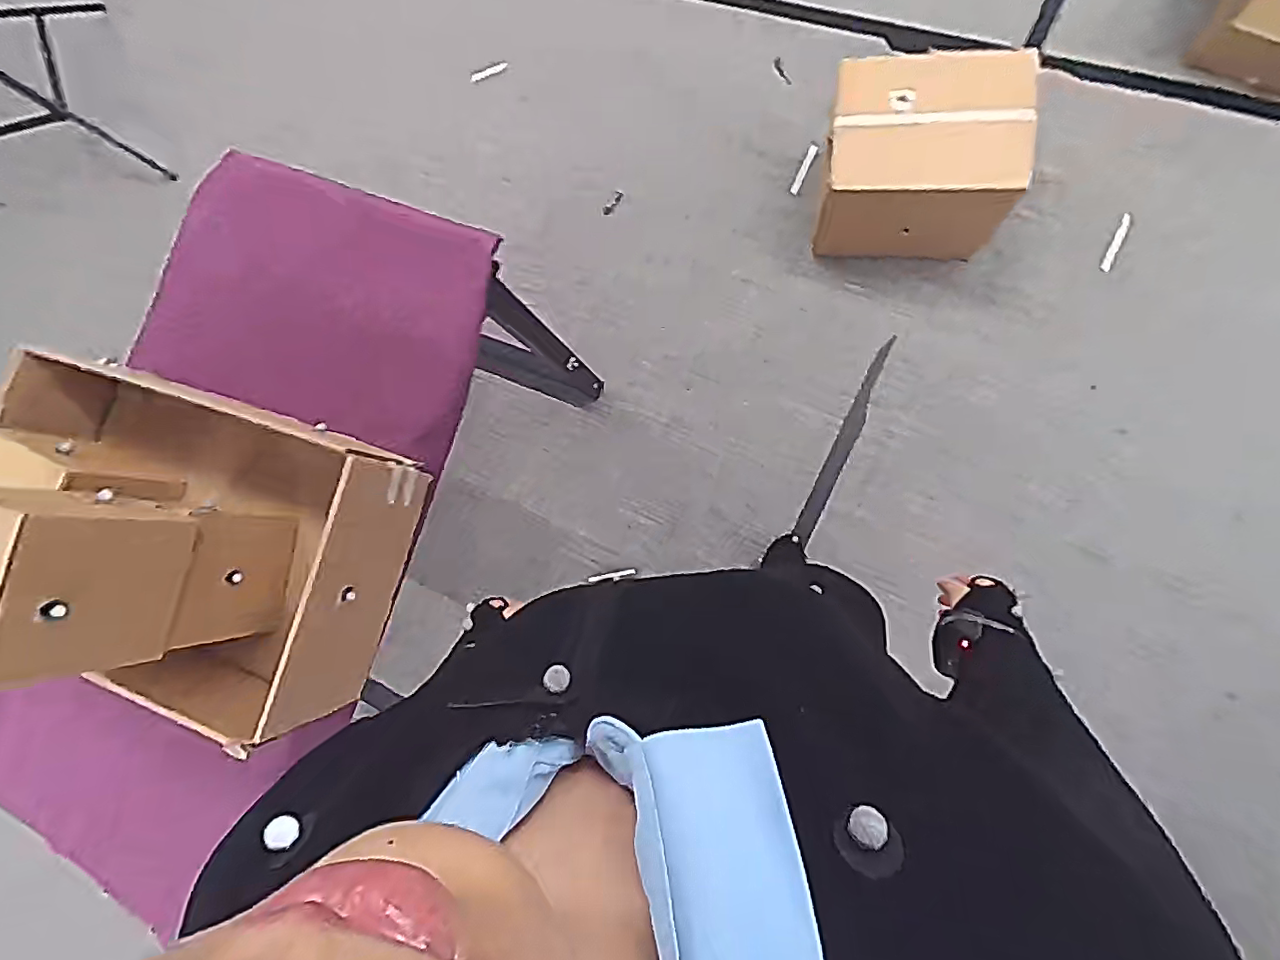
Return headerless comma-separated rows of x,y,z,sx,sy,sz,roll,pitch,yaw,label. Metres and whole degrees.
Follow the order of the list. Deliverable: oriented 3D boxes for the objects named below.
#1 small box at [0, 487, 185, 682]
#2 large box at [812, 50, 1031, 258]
-0.661,0.109,0.599,0.168,0.176,0.179,12,86,14,small box
0.653,-0.761,1.319,0.408,0.320,0.320,5,85,12,large box
